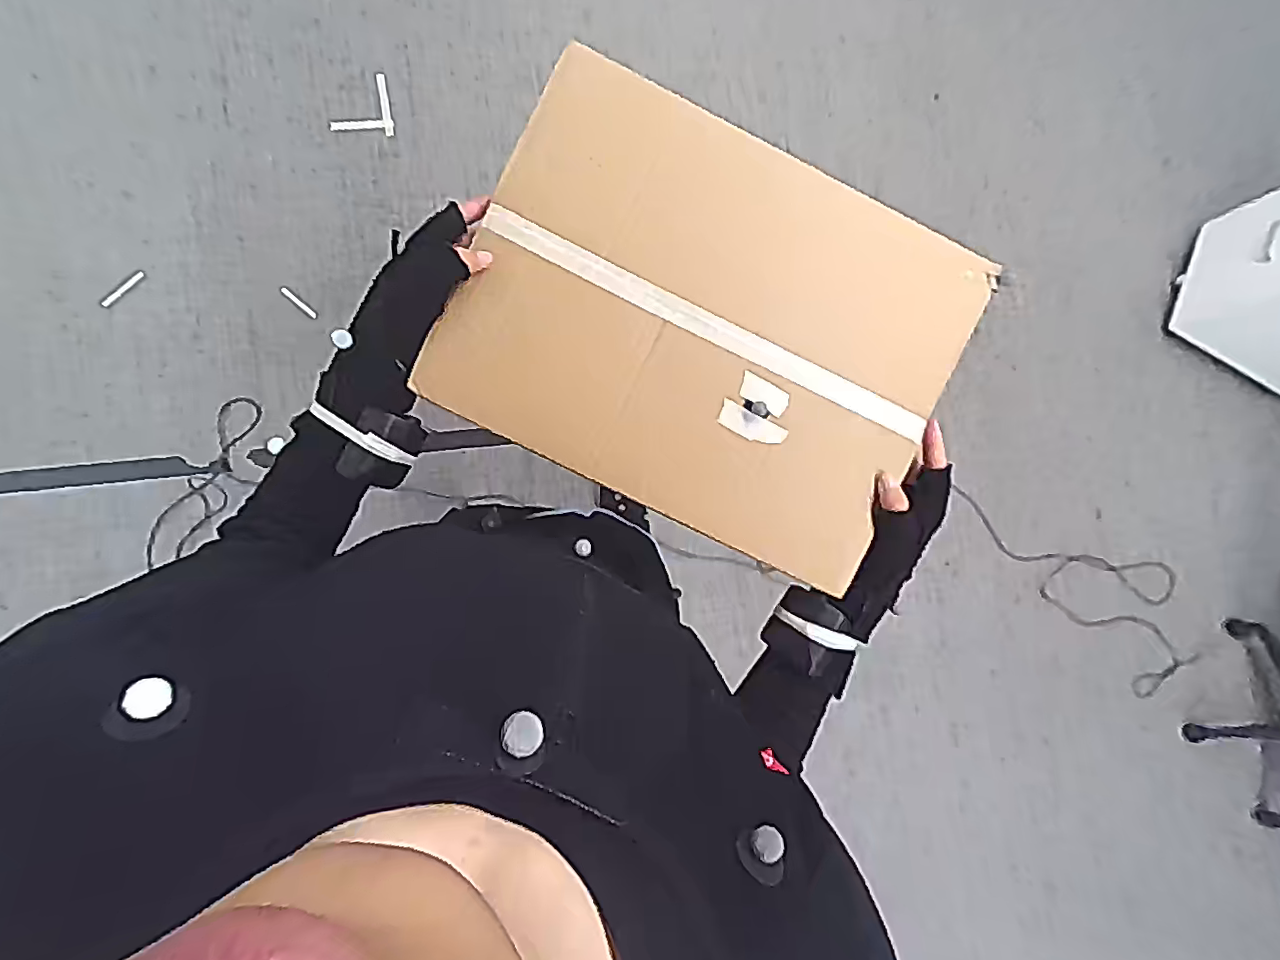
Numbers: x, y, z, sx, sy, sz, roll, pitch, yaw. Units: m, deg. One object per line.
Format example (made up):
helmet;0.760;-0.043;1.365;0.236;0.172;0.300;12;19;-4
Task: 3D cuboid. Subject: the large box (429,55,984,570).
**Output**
large box;0.053;-0.143;0.612;0.408;0.320;0.320;26;92;-4
